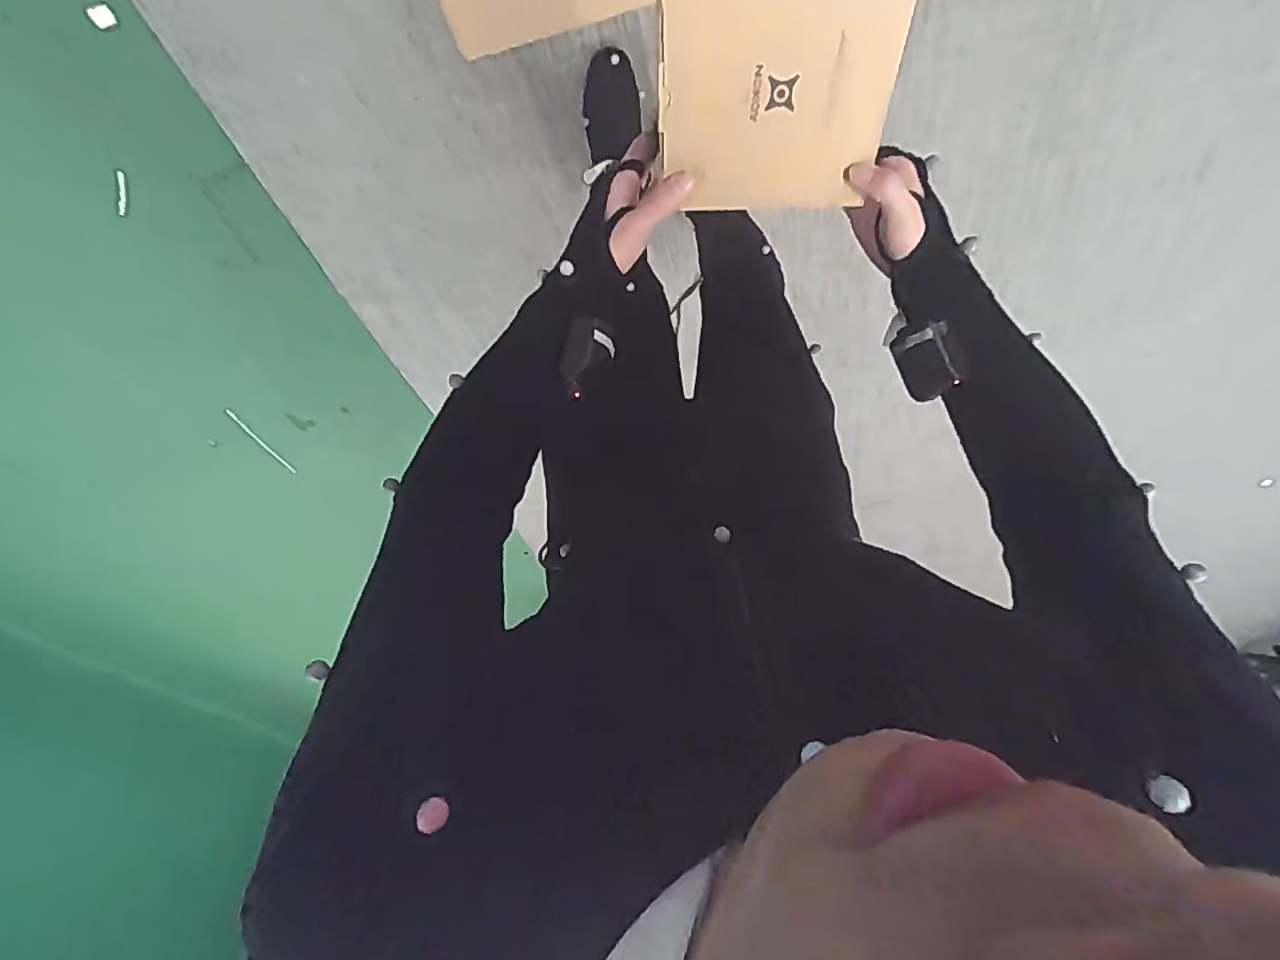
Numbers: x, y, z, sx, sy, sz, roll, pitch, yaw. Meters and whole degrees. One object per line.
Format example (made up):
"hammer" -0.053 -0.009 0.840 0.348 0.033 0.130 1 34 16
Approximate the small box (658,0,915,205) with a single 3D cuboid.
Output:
"small box" 0.103 -0.351 0.459 0.179 0.176 0.168 -1 138 1
